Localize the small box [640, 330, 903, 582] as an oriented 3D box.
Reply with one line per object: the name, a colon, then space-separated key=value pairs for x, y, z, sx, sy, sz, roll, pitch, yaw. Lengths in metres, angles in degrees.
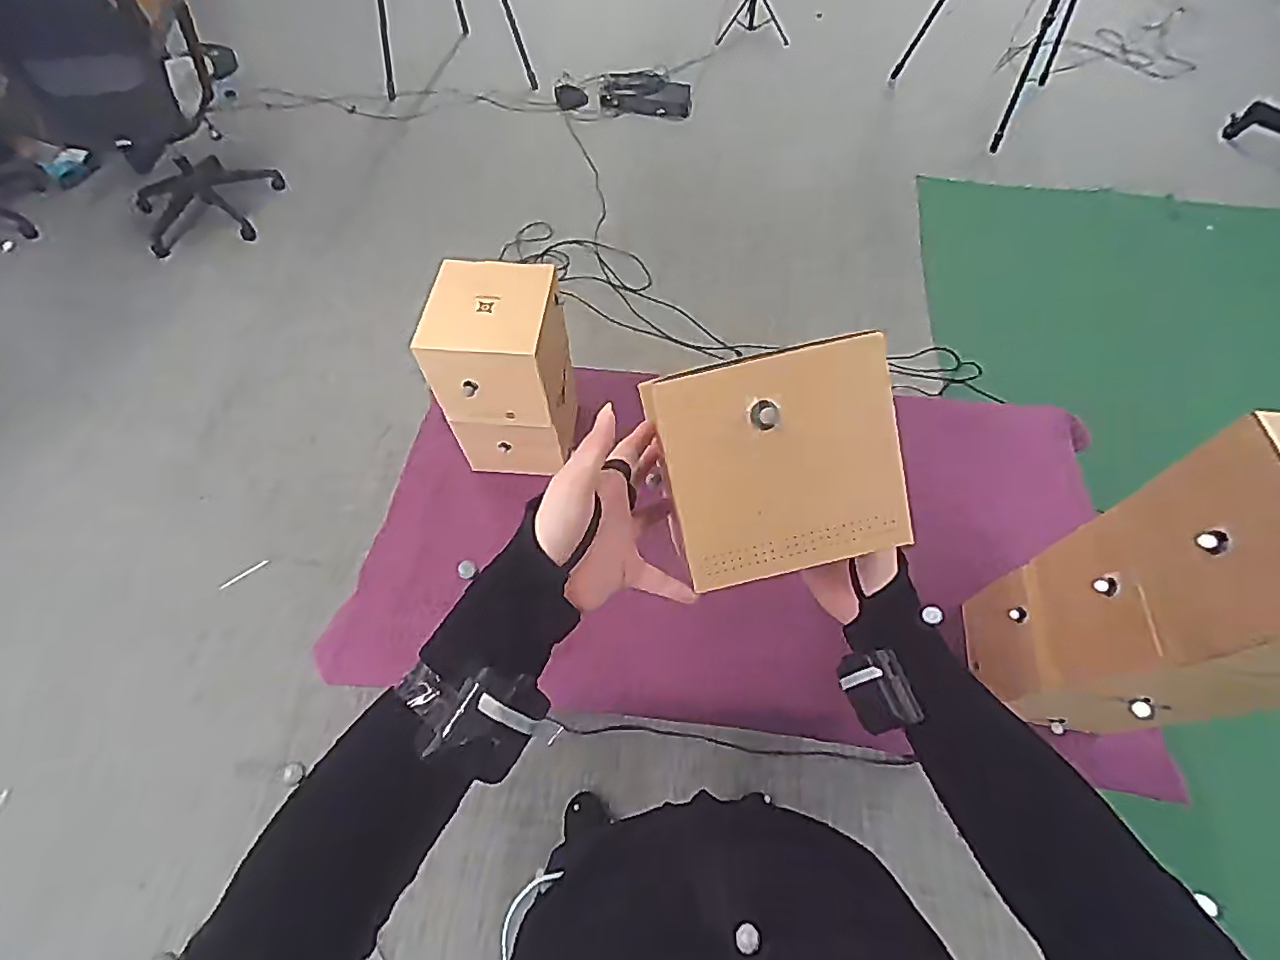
small box: x=0.105 y=-0.022 z=0.482 sx=0.179 sy=0.168 sz=0.176 roll=-13 pitch=100 yaw=-1

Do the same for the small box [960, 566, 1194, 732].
small box: x=0.577 y=0.238 z=0.743 sx=0.179 sy=0.176 sz=0.168 roll=10 pitch=59 yaw=6

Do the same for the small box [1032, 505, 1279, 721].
small box: x=0.579 y=0.153 z=0.604 sx=0.168 sy=0.176 sz=0.179 roll=9 pitch=60 yaw=7

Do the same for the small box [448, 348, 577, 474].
small box: x=-0.210 y=-0.122 z=0.951 sx=0.179 sy=0.176 sz=0.168 roll=3 pitch=60 yaw=2

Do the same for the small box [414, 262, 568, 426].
small box: x=-0.206 y=-0.197 z=0.808 sx=0.168 sy=0.176 sz=0.179 roll=4 pitch=60 yaw=2
